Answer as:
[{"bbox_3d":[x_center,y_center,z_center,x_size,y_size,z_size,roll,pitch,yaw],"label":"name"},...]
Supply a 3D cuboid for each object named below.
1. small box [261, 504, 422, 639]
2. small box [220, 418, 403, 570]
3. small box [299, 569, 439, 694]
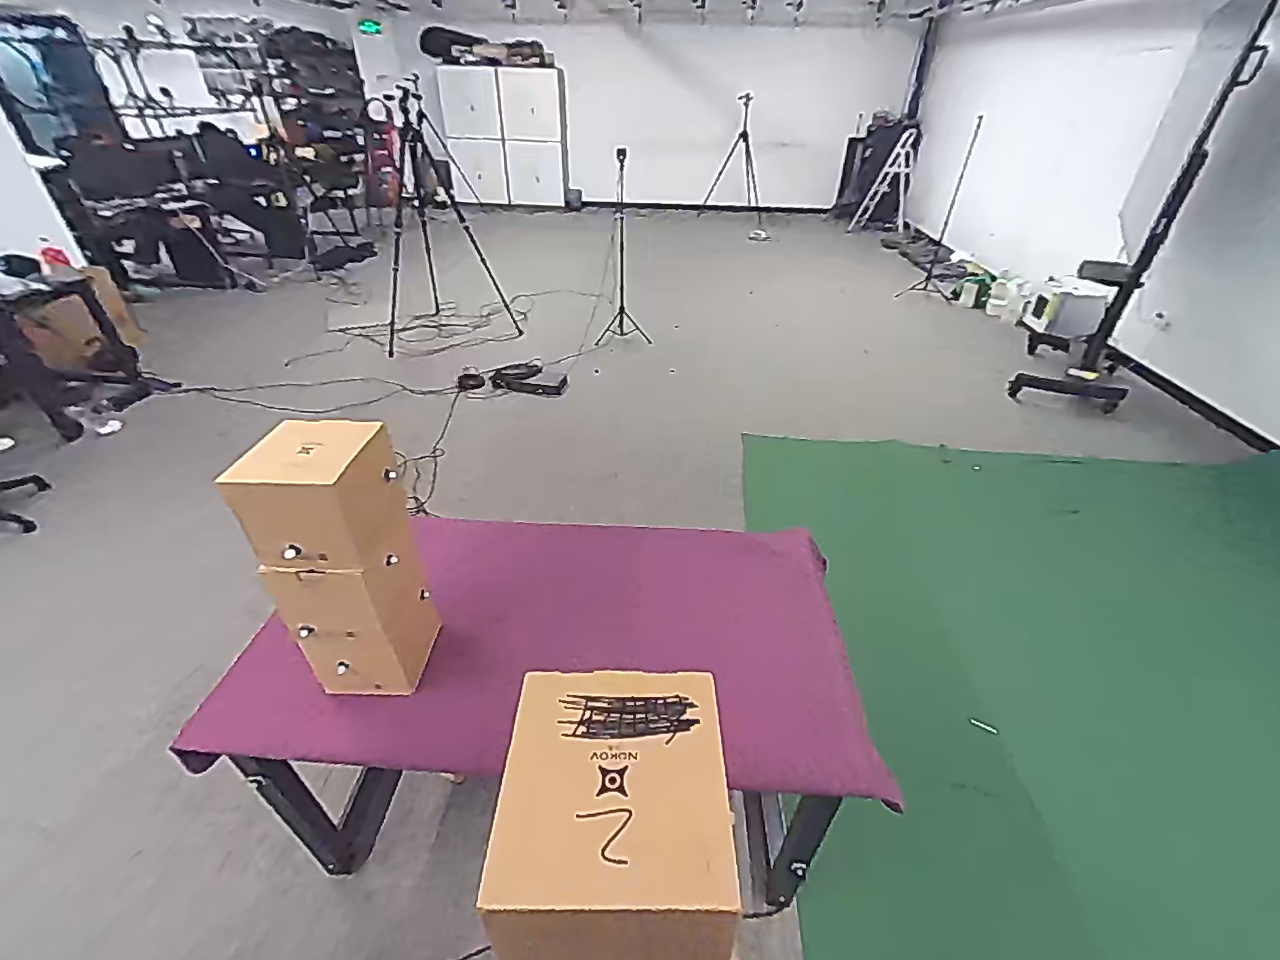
[{"bbox_3d":[-0.500,0.156,0.940,0.168,0.176,0.179,2,35,1],"label":"small box"},{"bbox_3d":[-0.495,0.019,0.851,0.168,0.176,0.179,1,36,2],"label":"small box"},{"bbox_3d":[-0.502,0.289,1.037,0.168,0.176,0.179,1,35,0],"label":"small box"}]
